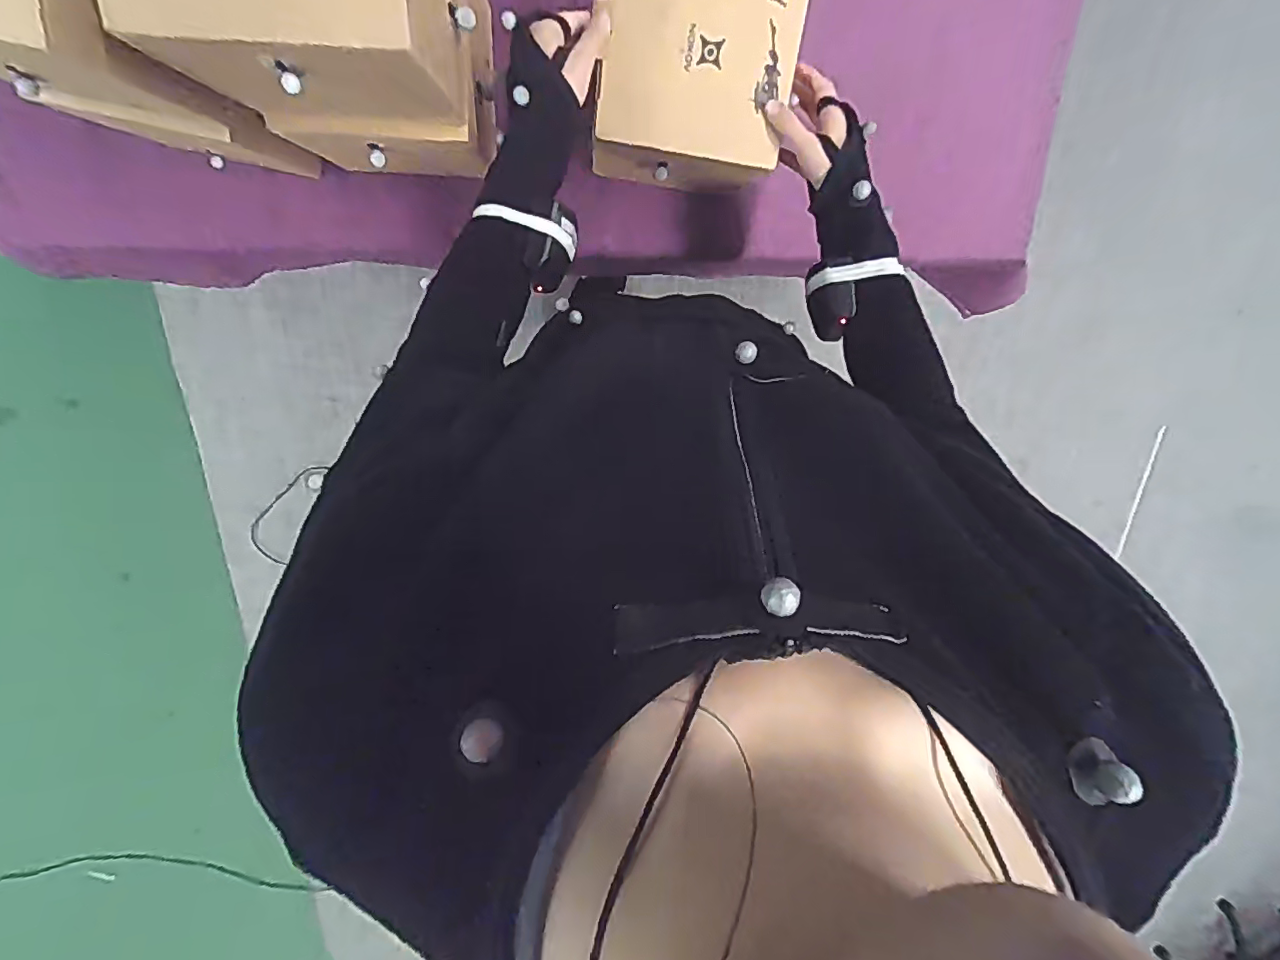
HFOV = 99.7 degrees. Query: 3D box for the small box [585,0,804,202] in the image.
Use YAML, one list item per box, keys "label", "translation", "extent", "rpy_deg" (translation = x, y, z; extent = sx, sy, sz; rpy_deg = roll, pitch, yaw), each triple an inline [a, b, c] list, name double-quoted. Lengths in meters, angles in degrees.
- label: "small box"
  translation: [0.043, -0.395, 0.545]
  extent: [0.179, 0.176, 0.168]
  rpy_deg: [7, 107, -6]
